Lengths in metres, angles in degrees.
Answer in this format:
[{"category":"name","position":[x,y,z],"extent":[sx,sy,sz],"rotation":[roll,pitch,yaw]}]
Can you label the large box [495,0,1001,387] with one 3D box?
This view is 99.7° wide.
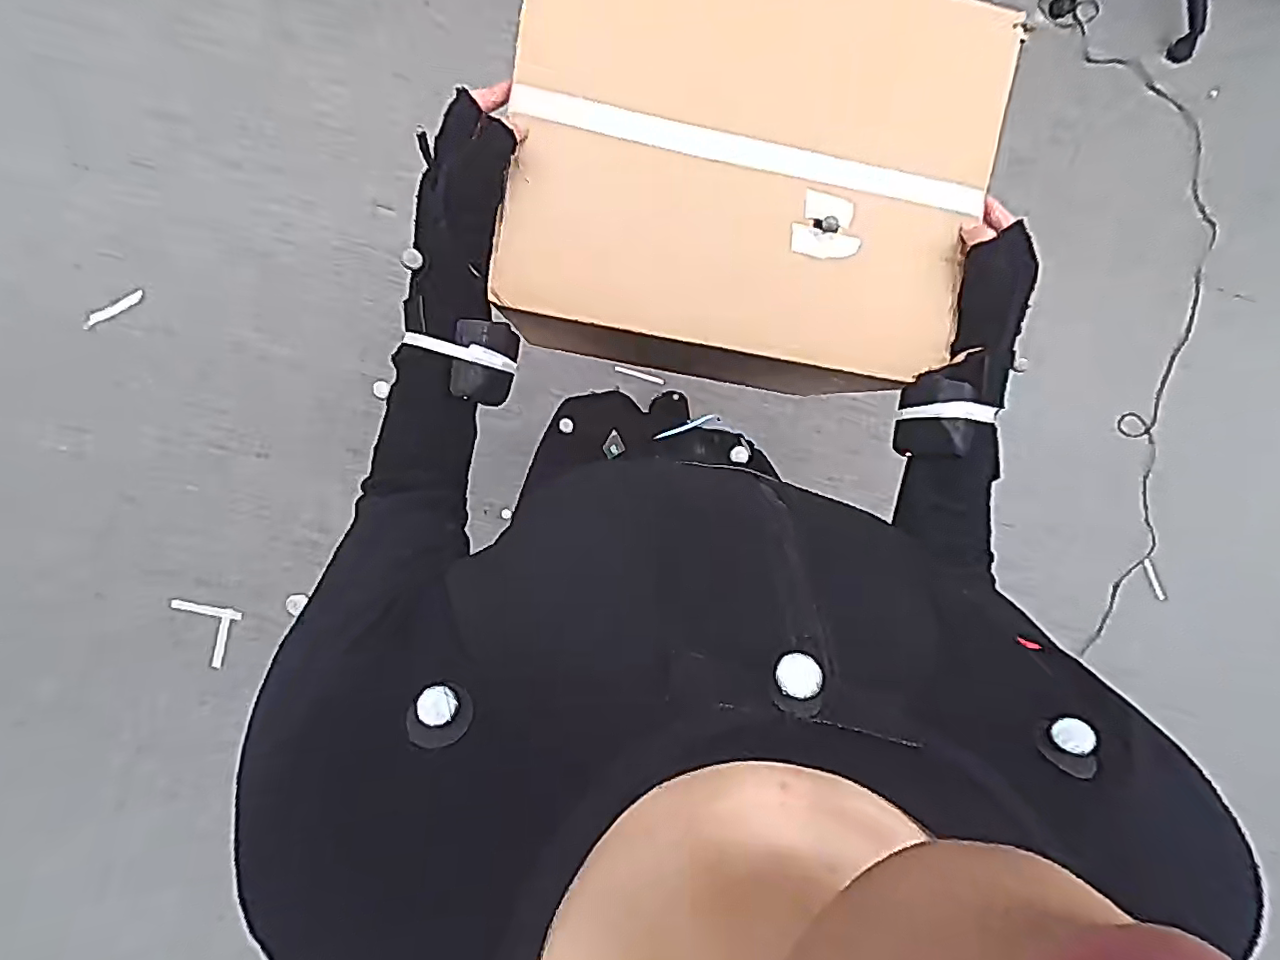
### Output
[{"category":"large box","position":[0.077,-0.290,0.603],"extent":[0.408,0.320,0.320],"rotation":[9,98,-8]}]
